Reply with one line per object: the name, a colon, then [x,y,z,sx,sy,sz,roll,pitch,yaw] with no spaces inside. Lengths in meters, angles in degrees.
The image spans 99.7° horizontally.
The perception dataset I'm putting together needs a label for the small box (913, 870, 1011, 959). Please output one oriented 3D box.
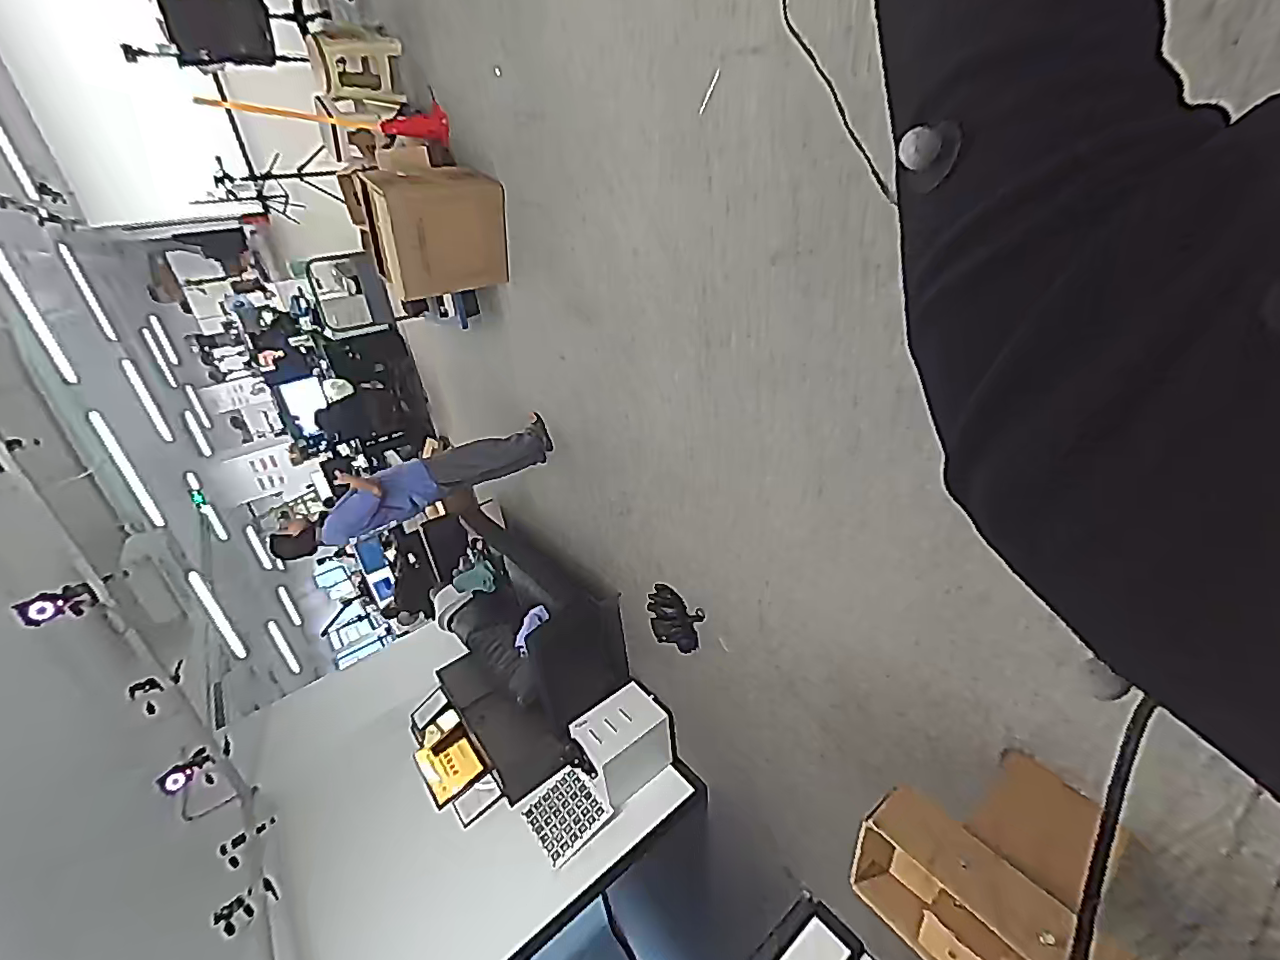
small box: [0.871,1.216,1.463,0.168,0.176,0.179,27,135,47]
